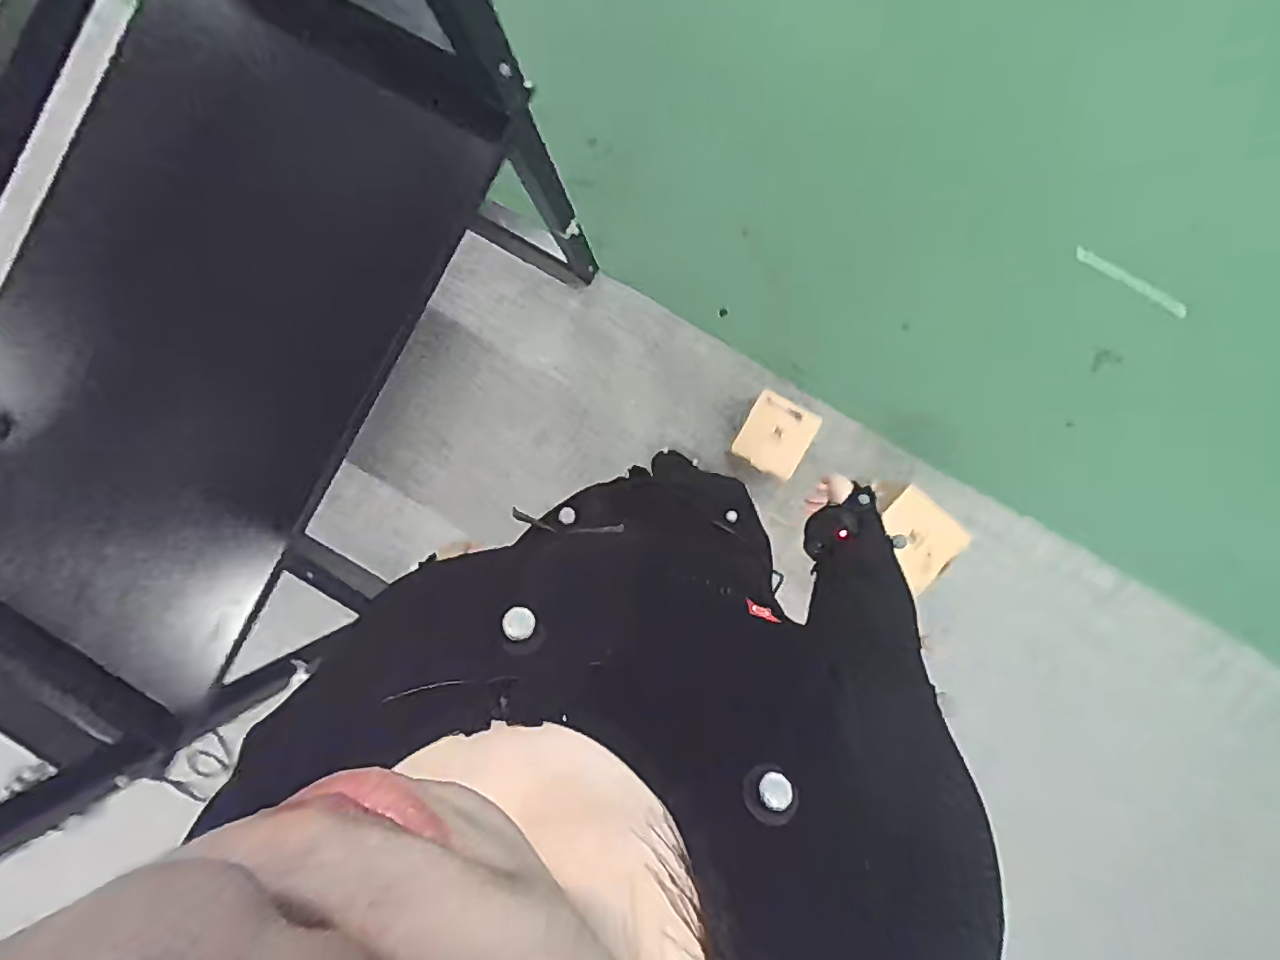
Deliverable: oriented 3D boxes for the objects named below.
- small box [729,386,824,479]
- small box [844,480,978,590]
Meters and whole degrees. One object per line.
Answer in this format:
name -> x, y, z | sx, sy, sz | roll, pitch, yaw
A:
small box -> 0.339, -0.117, 1.384 | 0.168, 0.176, 0.179 | 29, 94, 3
small box -> 0.590, 0.114, 1.207 | 0.179, 0.176, 0.168 | 41, 96, 2
